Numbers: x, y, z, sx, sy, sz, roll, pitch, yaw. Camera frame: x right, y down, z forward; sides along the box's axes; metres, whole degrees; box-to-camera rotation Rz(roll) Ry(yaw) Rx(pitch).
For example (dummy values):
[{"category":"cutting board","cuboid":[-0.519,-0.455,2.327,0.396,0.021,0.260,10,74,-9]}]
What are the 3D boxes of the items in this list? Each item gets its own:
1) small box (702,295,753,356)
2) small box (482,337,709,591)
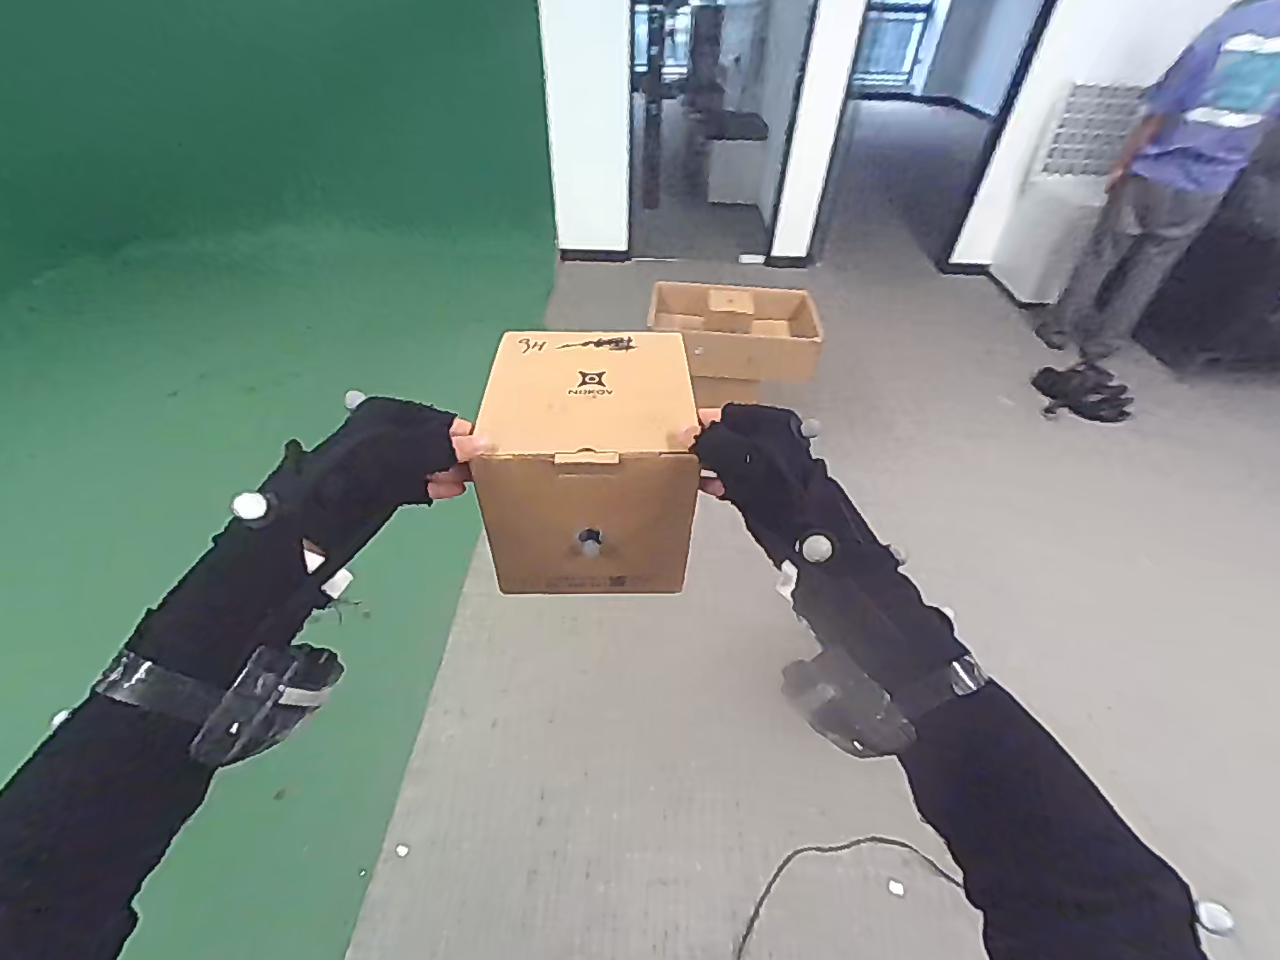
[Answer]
[{"category":"small box","cuboid":[0.333,-0.591,2.076,0.168,0.176,0.179,5,41,0]},{"category":"small box","cuboid":[-0.033,-0.013,0.496,0.168,0.176,0.179,1,44,-2]}]
